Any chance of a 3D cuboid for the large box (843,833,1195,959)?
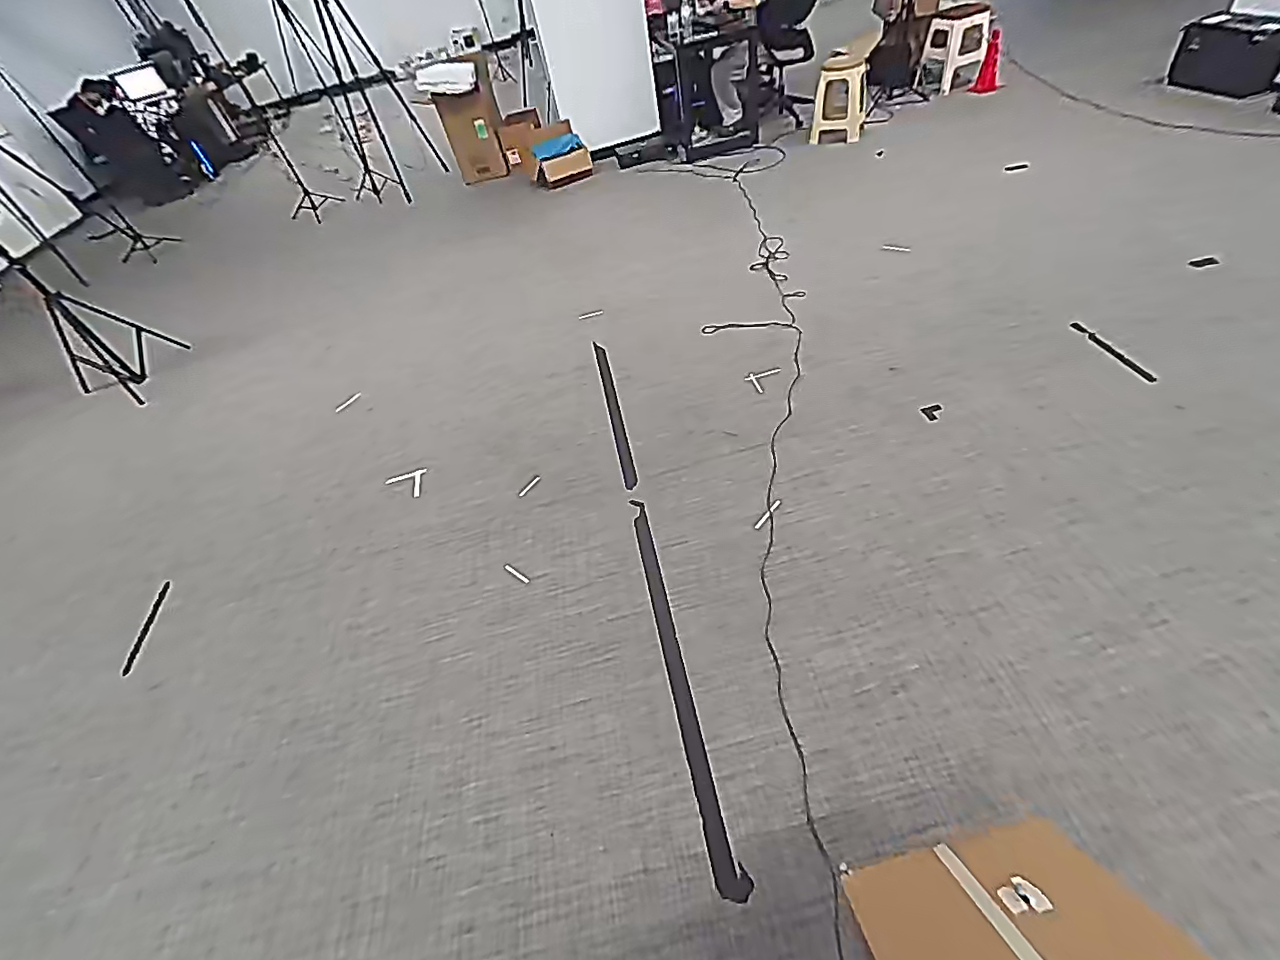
[{"bbox_3d":[0.483,0.694,0.600,0.320,0.408,0.320,-16,83,2],"label":"large box"}]
